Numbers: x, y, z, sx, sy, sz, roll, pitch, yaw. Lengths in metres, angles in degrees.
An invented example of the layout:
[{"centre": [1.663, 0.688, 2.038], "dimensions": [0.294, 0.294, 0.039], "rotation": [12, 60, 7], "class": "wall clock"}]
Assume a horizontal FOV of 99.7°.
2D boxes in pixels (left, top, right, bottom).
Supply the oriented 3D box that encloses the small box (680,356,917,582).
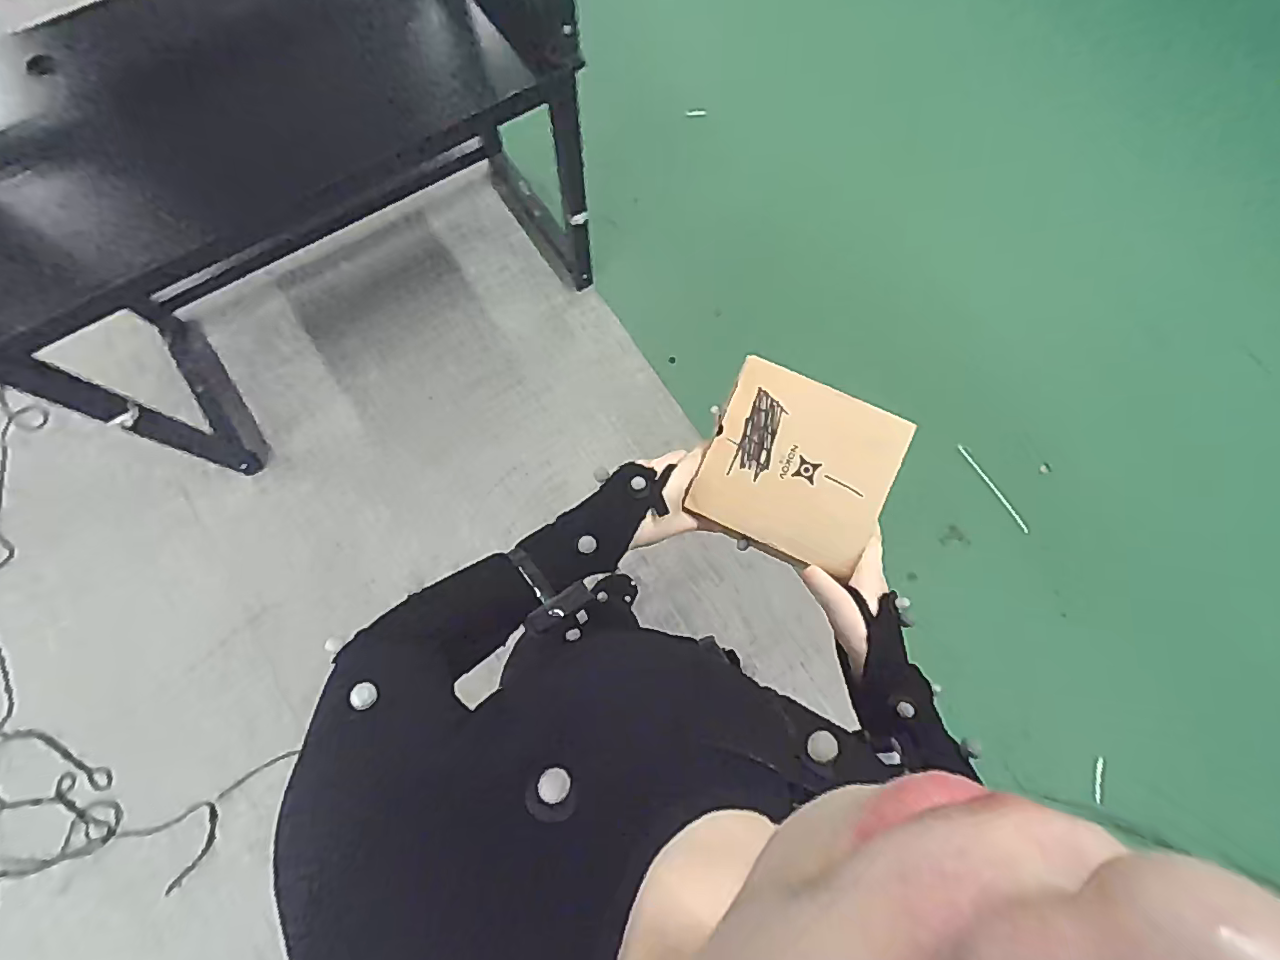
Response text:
[{"centre": [0.150, -0.004, 0.582], "dimensions": [0.179, 0.176, 0.168], "rotation": [24, 86, 4], "class": "small box"}]
